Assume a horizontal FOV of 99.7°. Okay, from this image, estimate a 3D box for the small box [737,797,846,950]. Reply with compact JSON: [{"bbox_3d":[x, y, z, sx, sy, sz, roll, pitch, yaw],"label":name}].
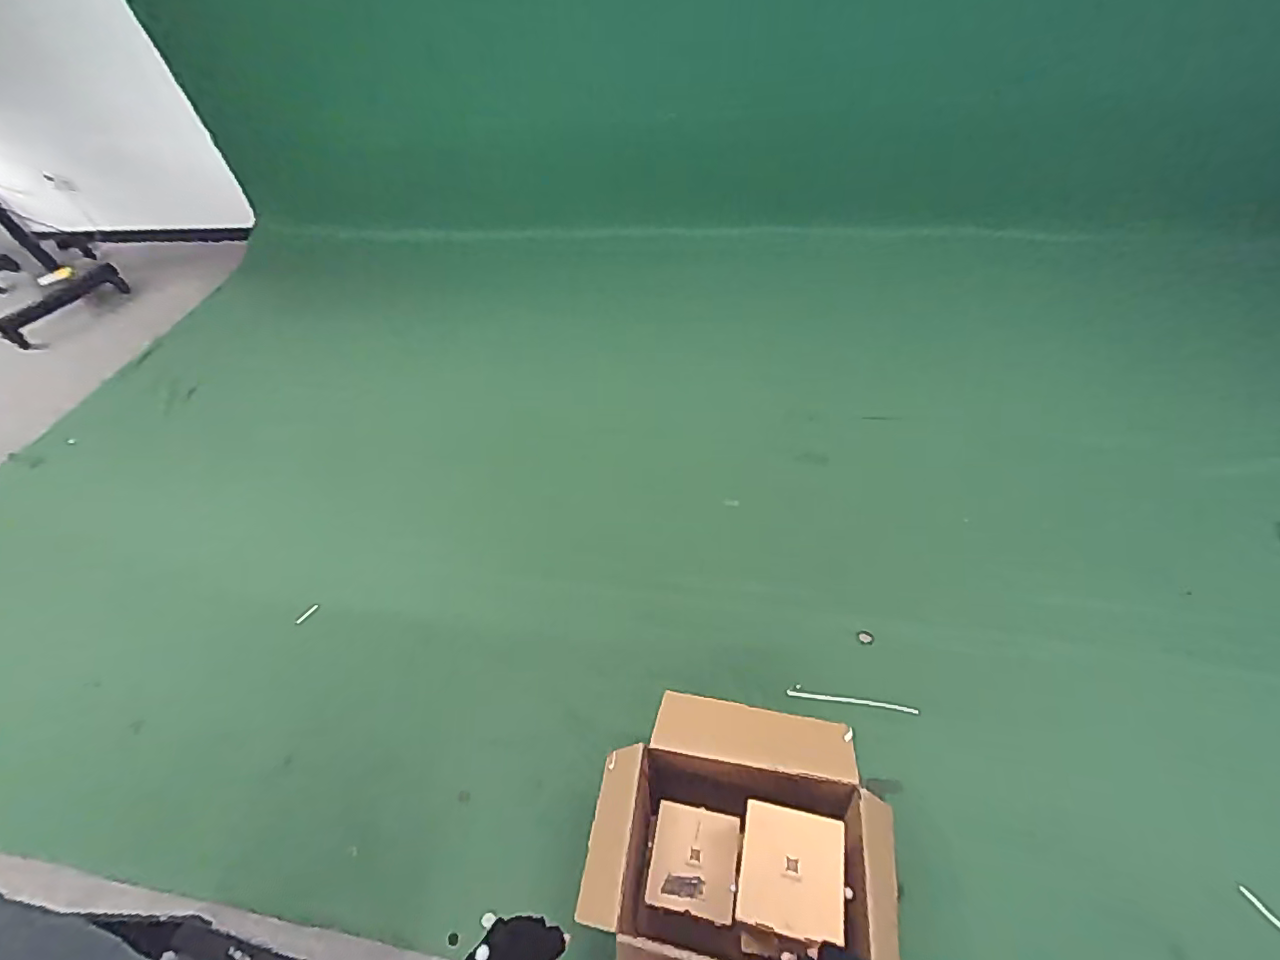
[{"bbox_3d":[0.265,0.695,0.956,0.168,0.176,0.179,5,49,16],"label":"small box"}]
